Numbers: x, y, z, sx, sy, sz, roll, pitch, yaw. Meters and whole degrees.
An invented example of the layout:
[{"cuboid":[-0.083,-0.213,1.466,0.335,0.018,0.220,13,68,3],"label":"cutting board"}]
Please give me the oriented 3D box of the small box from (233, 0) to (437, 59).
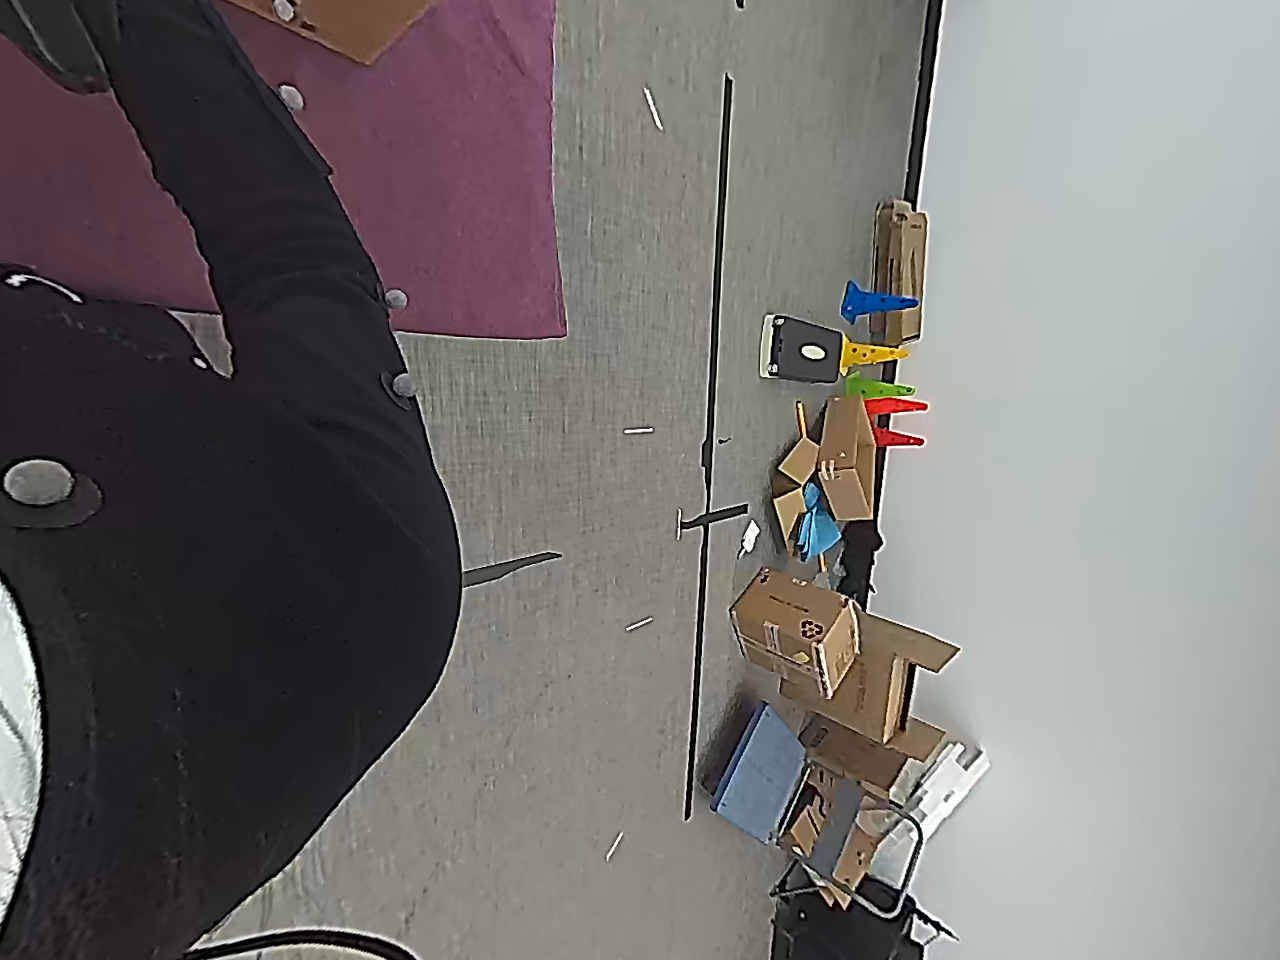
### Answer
[{"cuboid":[-0.281,-0.510,0.451,0.168,0.176,0.179,-4,103,-47],"label":"small box"}]
